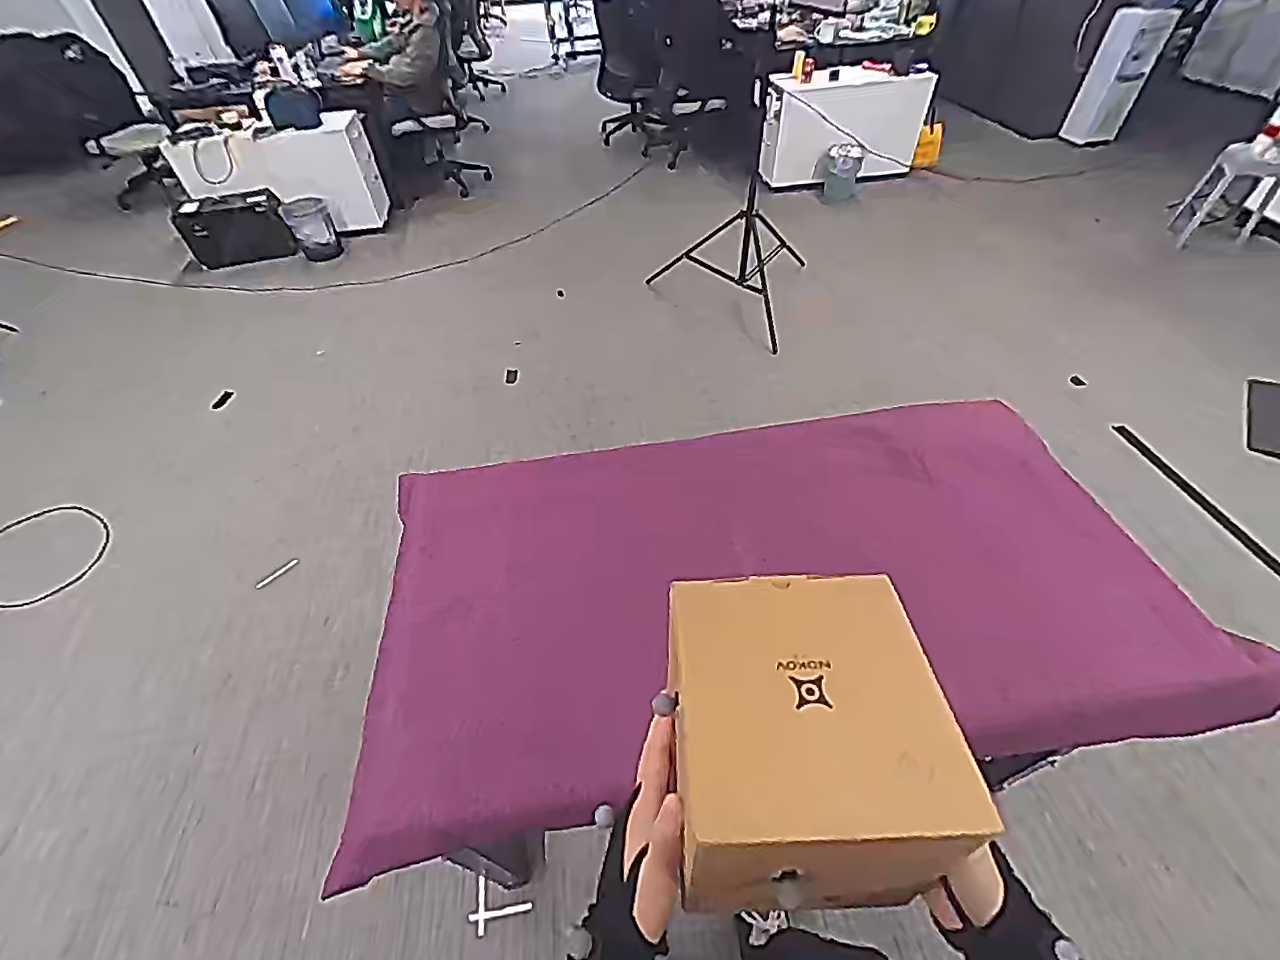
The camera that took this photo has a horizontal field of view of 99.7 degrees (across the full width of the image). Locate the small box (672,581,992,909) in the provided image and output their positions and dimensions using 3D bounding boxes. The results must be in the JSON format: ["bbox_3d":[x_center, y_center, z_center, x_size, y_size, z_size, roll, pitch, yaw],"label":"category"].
[{"bbox_3d":[0.111,0.199,0.405,0.168,0.176,0.179,-2,40,0],"label":"small box"}]
